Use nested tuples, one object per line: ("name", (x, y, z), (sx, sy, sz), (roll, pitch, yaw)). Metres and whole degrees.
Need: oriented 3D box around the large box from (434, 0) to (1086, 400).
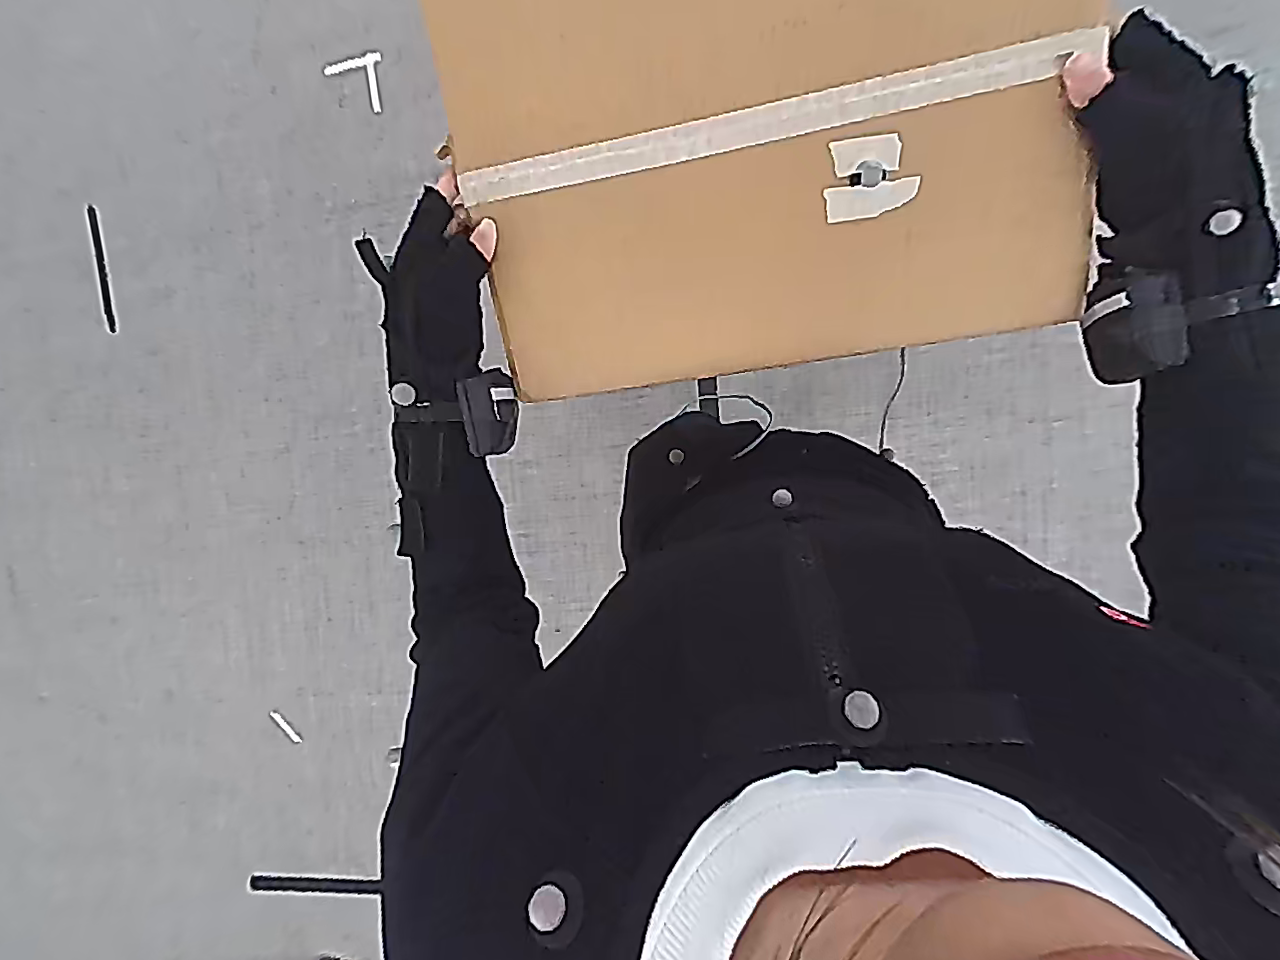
("large box", (0.092, -0.283, 0.505), (0.408, 0.320, 0.320), (-8, 109, 8))
